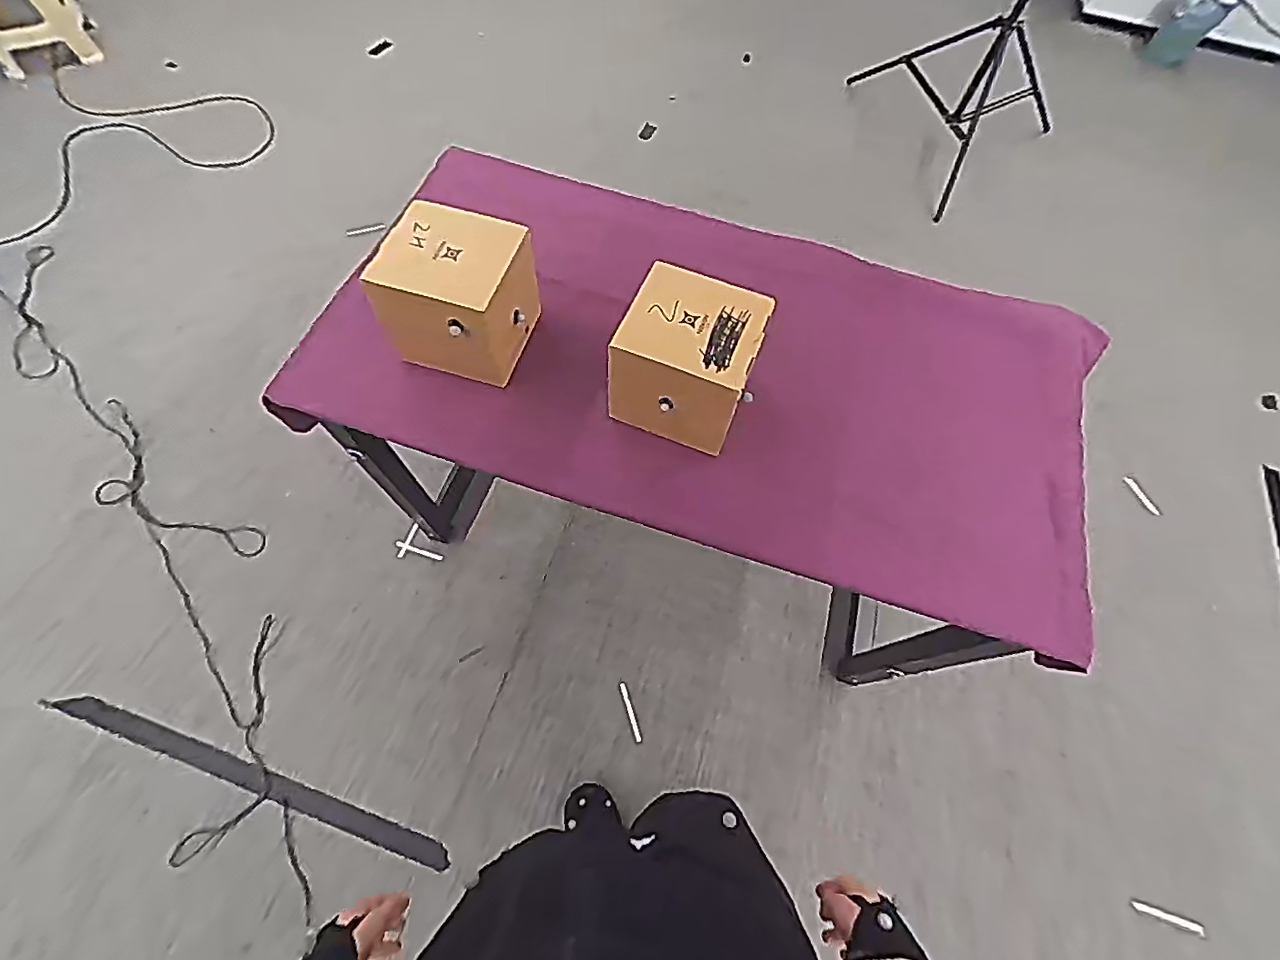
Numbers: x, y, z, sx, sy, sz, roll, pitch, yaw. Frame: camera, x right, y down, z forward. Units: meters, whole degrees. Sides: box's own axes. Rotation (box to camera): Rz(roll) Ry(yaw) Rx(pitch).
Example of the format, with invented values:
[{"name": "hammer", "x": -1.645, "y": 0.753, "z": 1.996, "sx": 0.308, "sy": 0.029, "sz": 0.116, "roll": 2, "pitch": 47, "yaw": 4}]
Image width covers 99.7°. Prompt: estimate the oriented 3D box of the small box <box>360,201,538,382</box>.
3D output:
[{"name": "small box", "x": -0.263, "y": -0.268, "z": 0.798, "sx": 0.179, "sy": 0.176, "sz": 0.168, "roll": 15, "pitch": 63, "yaw": 4}]
